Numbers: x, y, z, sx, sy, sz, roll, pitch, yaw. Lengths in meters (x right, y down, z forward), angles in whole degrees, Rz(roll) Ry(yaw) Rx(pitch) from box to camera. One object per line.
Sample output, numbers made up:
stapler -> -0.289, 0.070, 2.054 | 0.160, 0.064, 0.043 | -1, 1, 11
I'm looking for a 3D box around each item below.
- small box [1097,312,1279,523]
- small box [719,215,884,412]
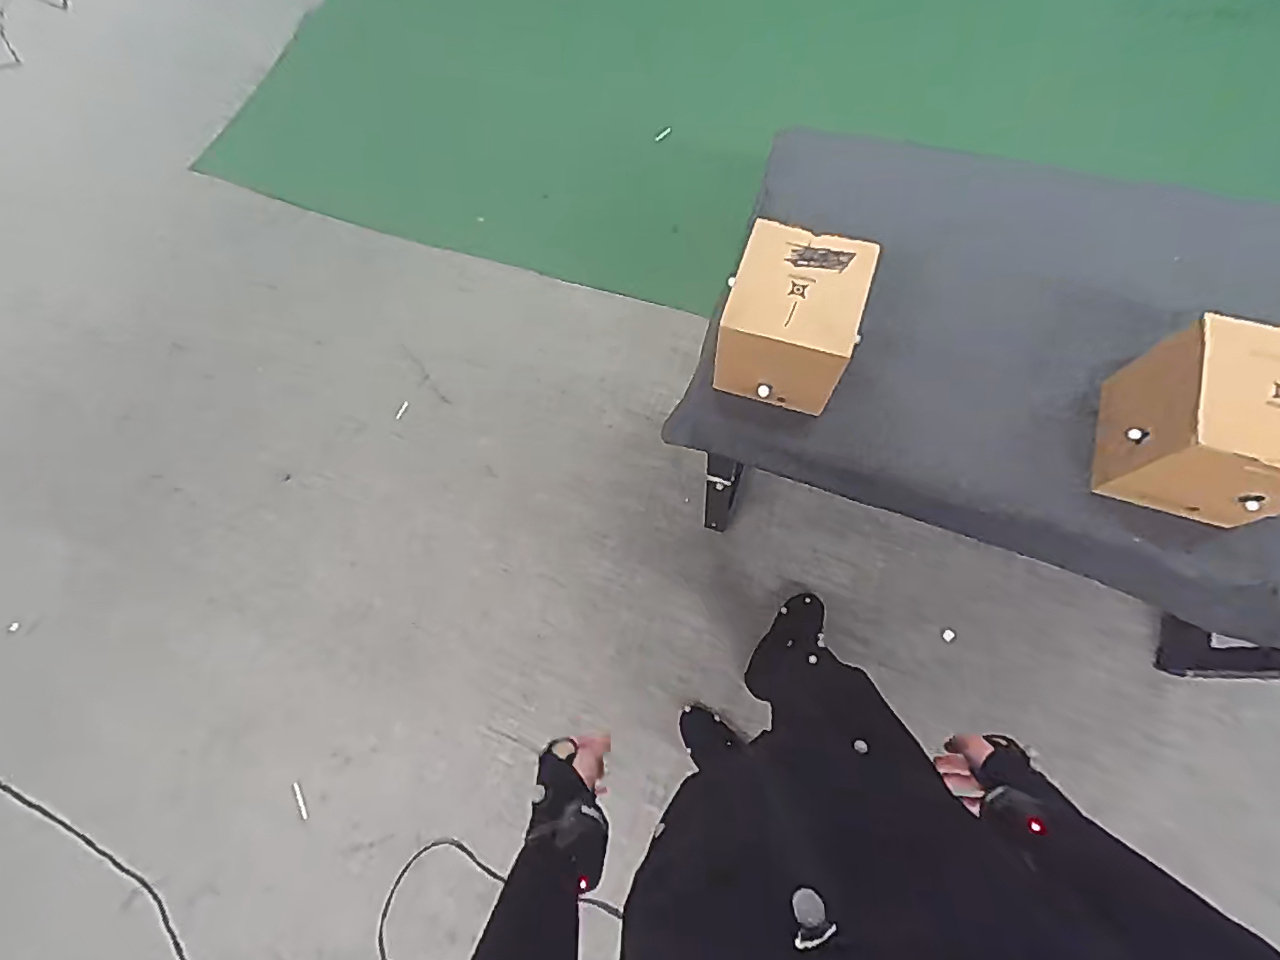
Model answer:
small box -> 0.700, -0.065, 0.651 | 0.168, 0.176, 0.179 | 18, 72, 10
small box -> 0.212, -0.223, 0.750 | 0.168, 0.176, 0.179 | 18, 74, 11
